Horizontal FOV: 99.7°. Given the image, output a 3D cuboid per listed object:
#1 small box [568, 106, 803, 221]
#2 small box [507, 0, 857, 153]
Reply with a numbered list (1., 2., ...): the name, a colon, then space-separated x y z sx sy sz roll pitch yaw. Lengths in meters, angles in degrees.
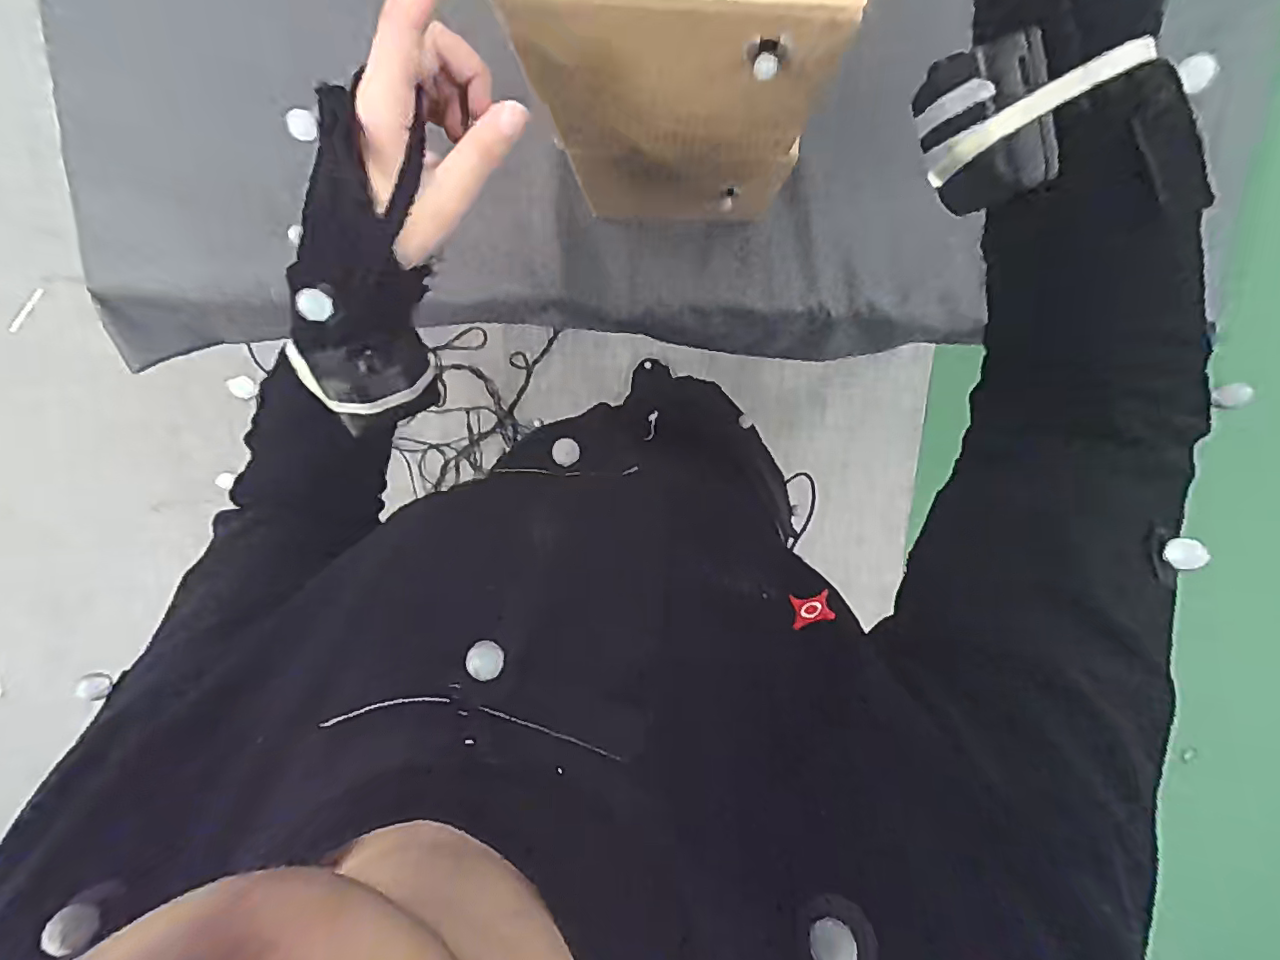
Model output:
1. small box: 0.039 -0.336 0.467 0.179 0.176 0.168 2 100 4
2. small box: 0.024 -0.309 0.307 0.179 0.176 0.168 4 100 1
